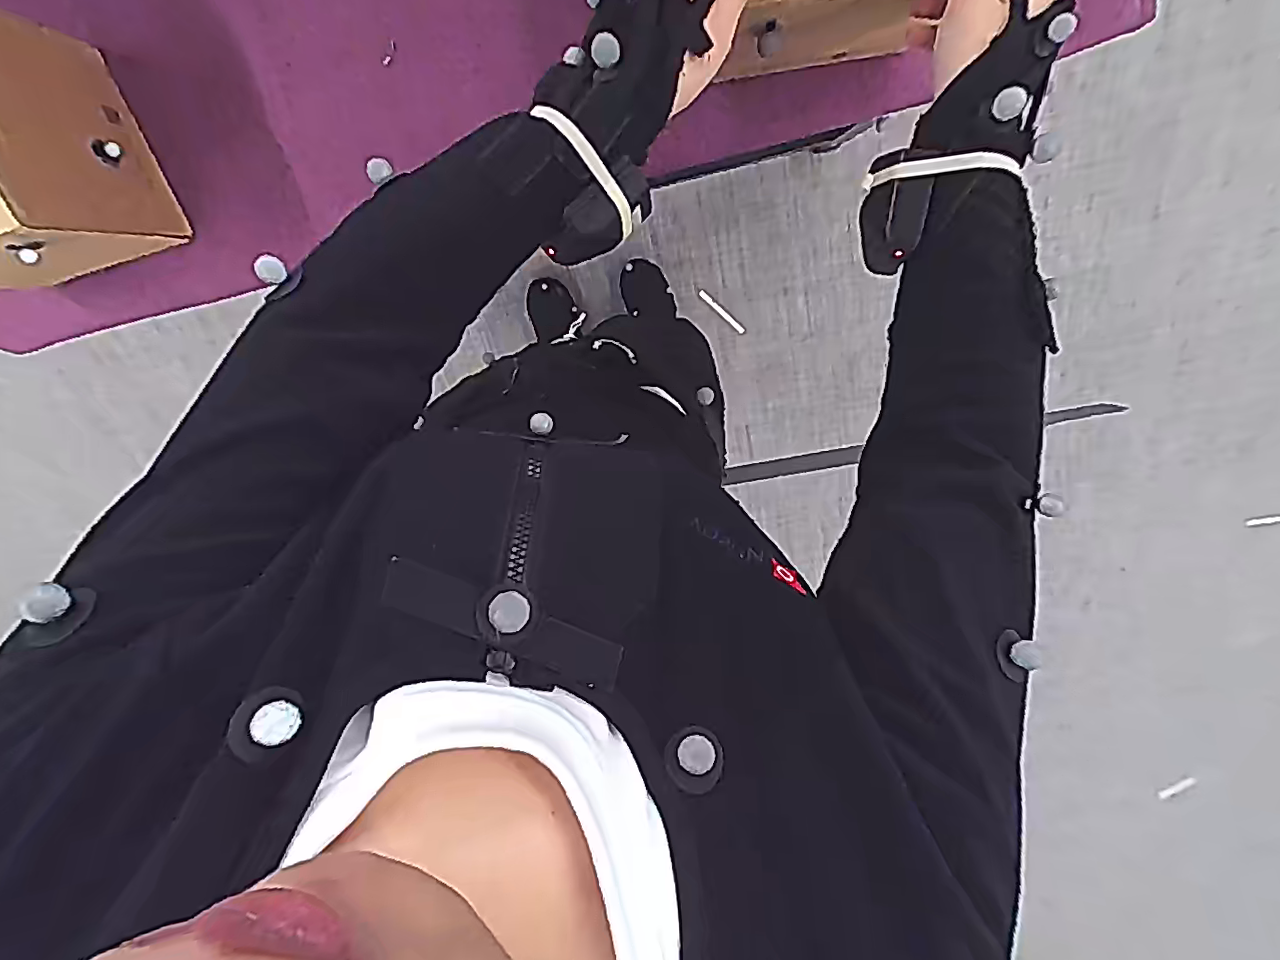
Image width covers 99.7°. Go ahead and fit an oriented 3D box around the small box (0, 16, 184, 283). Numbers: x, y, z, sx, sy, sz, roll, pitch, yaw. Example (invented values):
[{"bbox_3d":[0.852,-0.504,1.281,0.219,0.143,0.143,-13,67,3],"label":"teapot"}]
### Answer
[{"bbox_3d":[-0.559,-0.269,0.456,0.179,0.176,0.168,-15,111,5],"label":"small box"}]
